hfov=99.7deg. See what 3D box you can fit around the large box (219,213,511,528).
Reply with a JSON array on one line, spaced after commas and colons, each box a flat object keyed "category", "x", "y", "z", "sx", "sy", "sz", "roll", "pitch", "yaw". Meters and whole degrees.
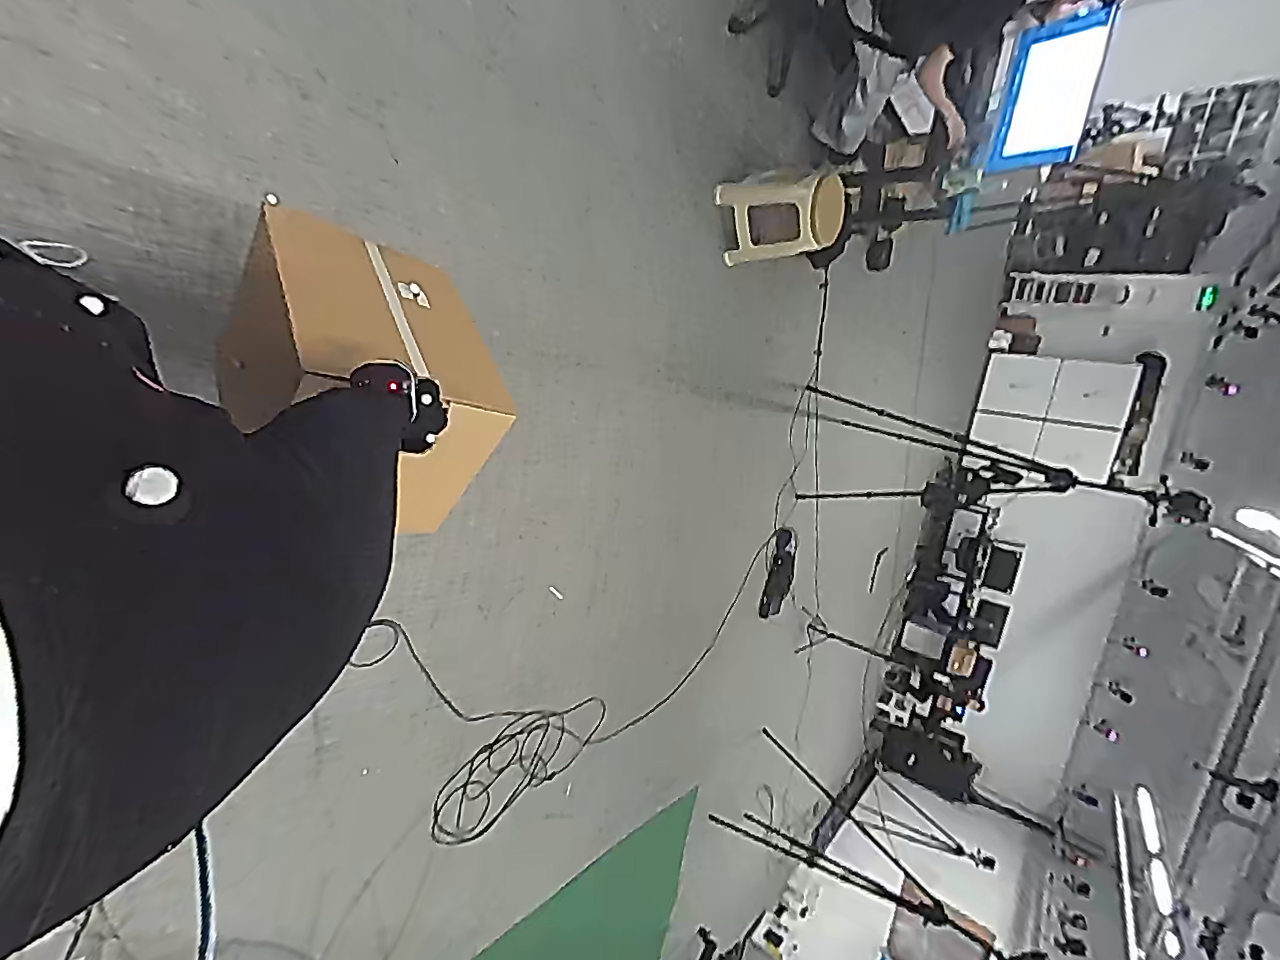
[{"category": "large box", "x": -0.488, "y": -0.163, "z": 0.932, "sx": 0.320, "sy": 0.408, "sz": 0.320, "roll": 8, "pitch": 132, "yaw": -49}]
